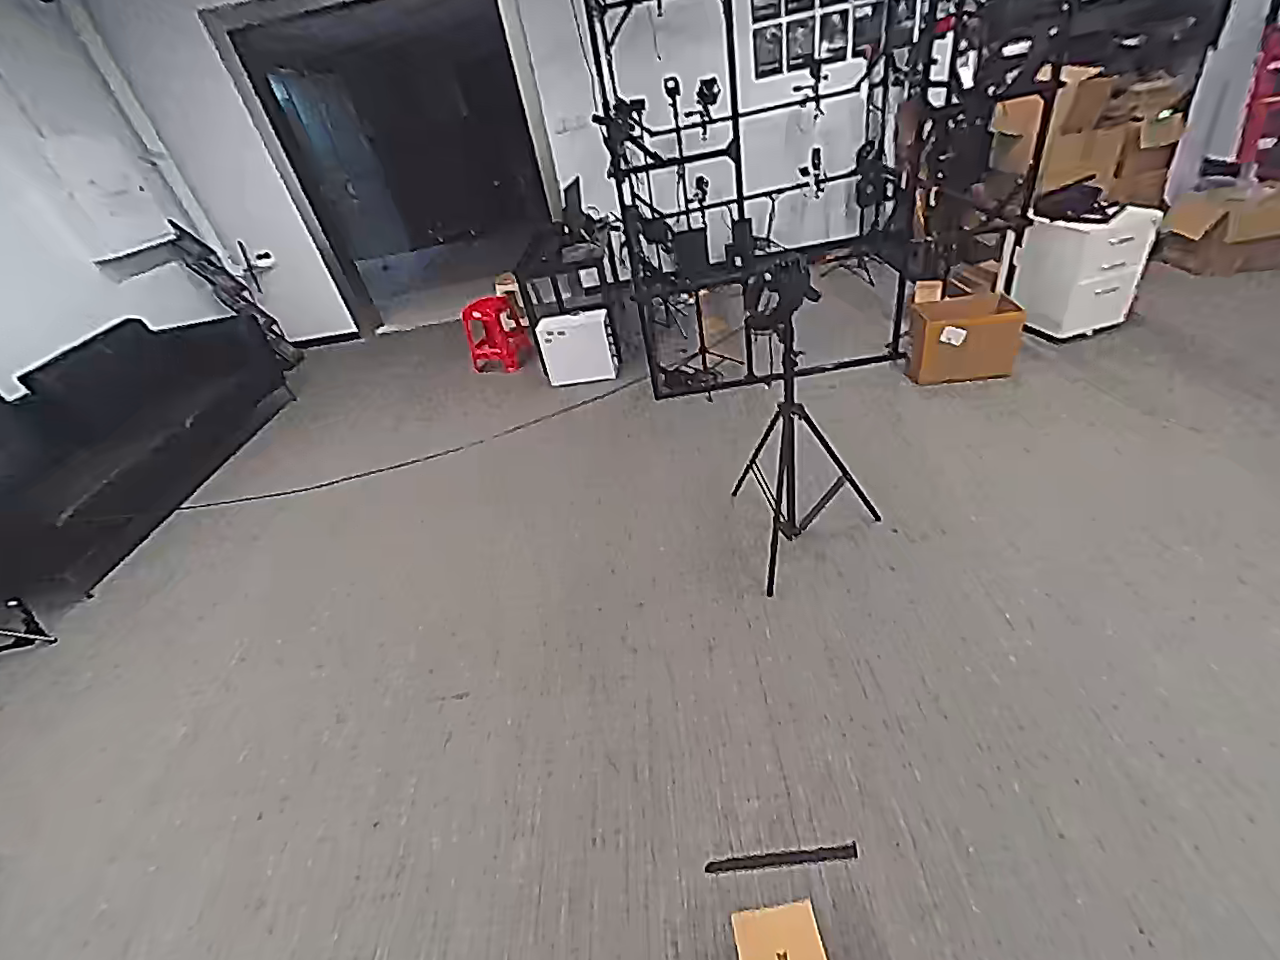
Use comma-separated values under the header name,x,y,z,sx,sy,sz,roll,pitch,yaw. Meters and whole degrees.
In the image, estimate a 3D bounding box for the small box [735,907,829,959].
name,x,y,z,sx,sy,sz,roll,pitch,yaw
small box,0.290,0.985,1.062,0.168,0.176,0.179,-12,35,1
